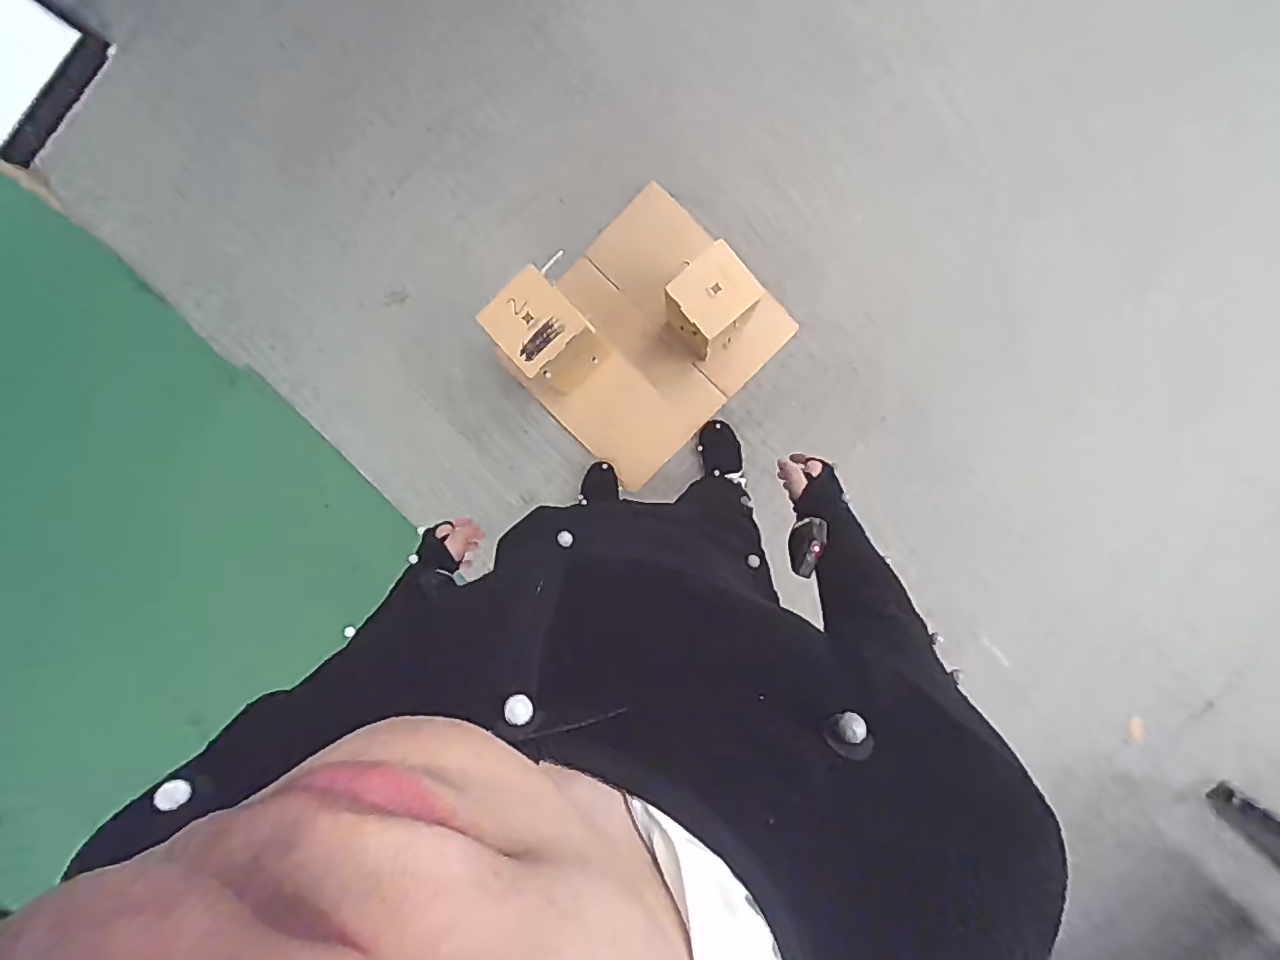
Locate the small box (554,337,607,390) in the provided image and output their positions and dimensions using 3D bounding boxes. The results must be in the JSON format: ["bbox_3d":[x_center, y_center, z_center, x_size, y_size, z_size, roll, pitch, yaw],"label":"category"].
[{"bbox_3d":[-0.209,-0.374,1.523,0.179,0.176,0.168,-44,90,6],"label":"small box"}]

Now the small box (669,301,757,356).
[{"bbox_3d":[0.193,-0.467,1.491,0.179,0.176,0.168,-42,91,6],"label":"small box"}]

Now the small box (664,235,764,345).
[{"bbox_3d":[0.179,-0.455,1.329,0.179,0.176,0.168,-40,92,6],"label":"small box"}]

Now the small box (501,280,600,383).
[{"bbox_3d":[-0.215,-0.365,1.362,0.179,0.176,0.168,-44,91,7],"label":"small box"}]
